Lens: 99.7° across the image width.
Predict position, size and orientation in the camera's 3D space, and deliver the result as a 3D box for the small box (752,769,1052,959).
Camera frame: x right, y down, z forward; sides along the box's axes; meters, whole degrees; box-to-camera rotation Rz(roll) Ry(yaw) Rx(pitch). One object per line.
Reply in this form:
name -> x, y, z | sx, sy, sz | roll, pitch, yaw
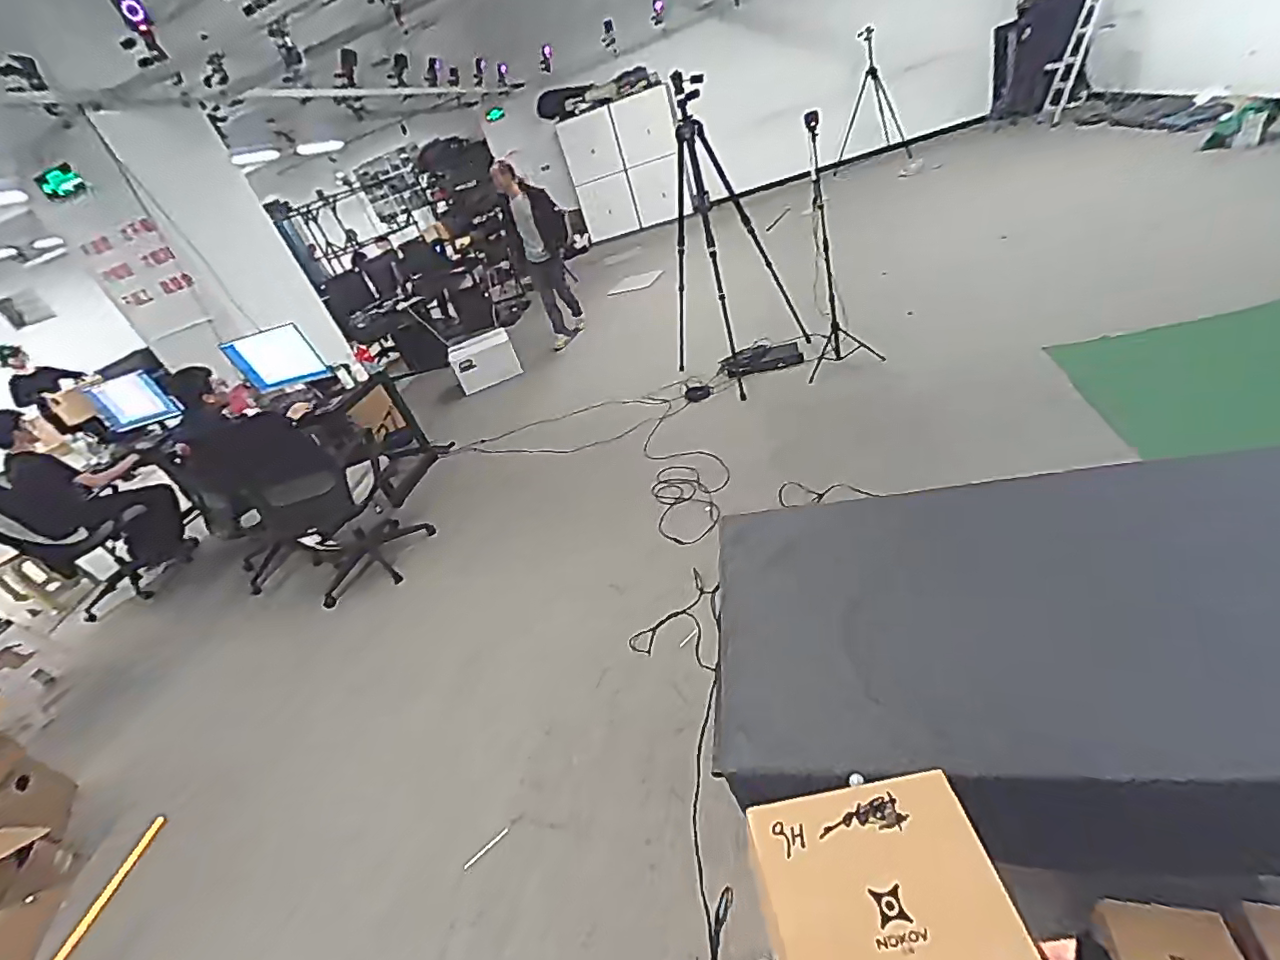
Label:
small box -> 0.192, 0.359, 0.422 | 0.168, 0.176, 0.179 | -11, 43, 0
